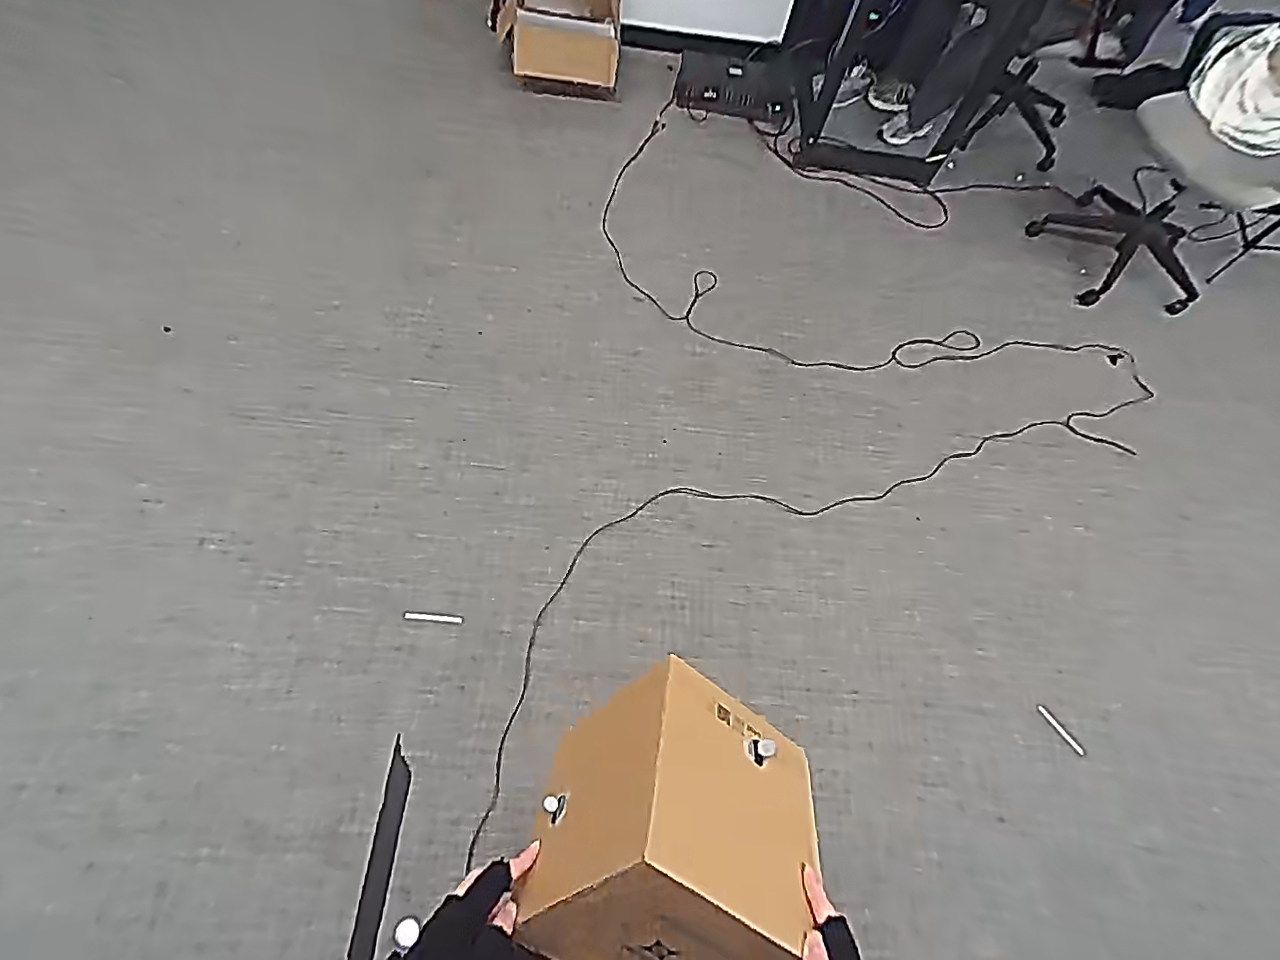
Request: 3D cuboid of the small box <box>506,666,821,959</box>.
[{"bbox_3d":[0.025,0.296,0.451,0.168,0.179,0.176,39,27,-12],"label":"small box"}]
